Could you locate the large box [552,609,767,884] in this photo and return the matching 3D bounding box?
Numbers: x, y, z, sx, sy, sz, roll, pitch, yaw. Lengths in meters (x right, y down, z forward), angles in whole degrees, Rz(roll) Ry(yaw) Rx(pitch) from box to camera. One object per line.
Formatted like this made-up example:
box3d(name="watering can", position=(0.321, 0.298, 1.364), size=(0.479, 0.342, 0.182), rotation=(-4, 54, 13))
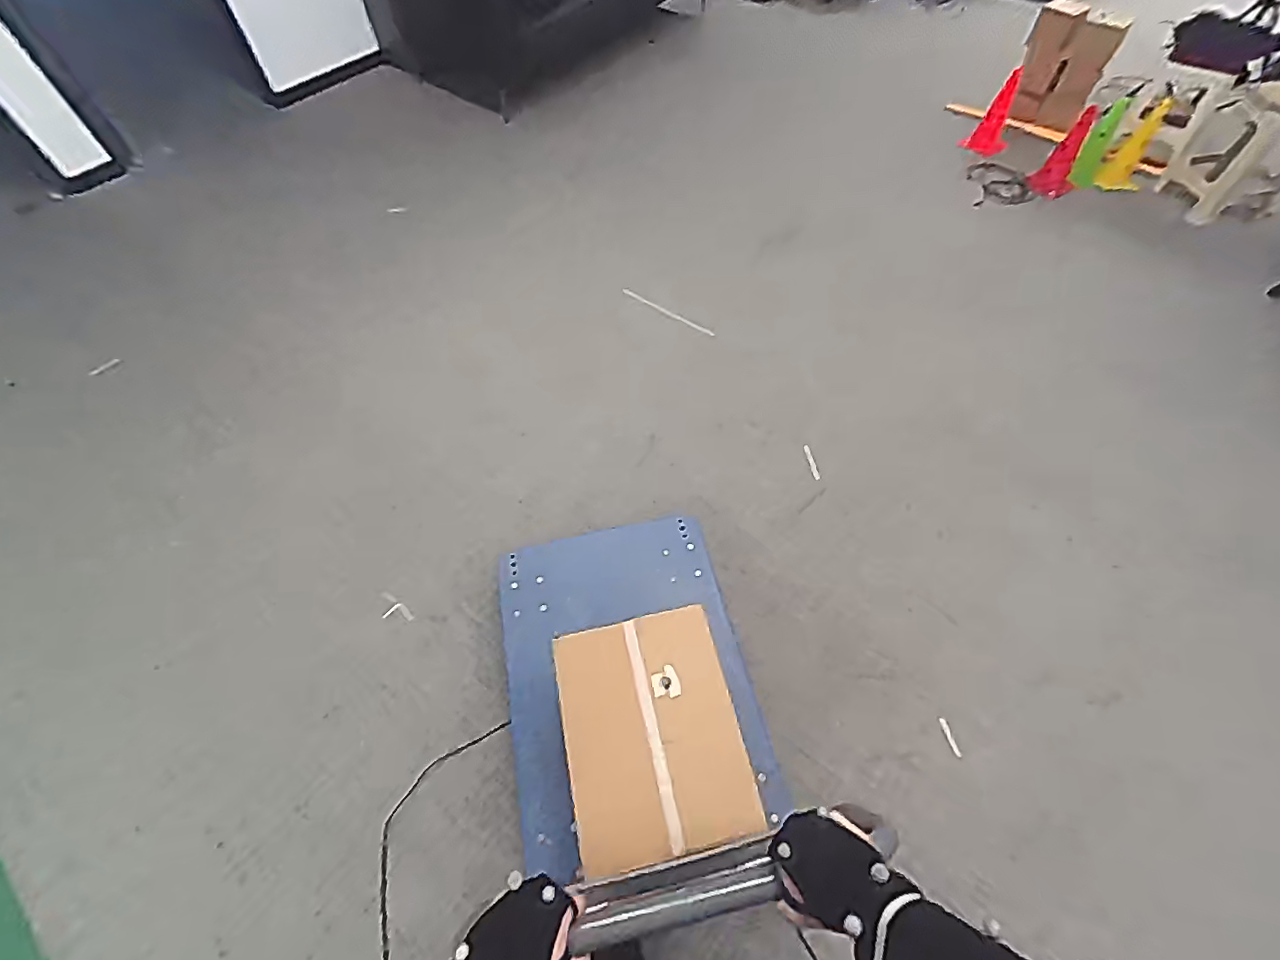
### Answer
box3d(name="large box", position=(0.024, 0.538, 1.107), size=(0.320, 0.320, 0.408), rotation=(-11, 56, -7))
